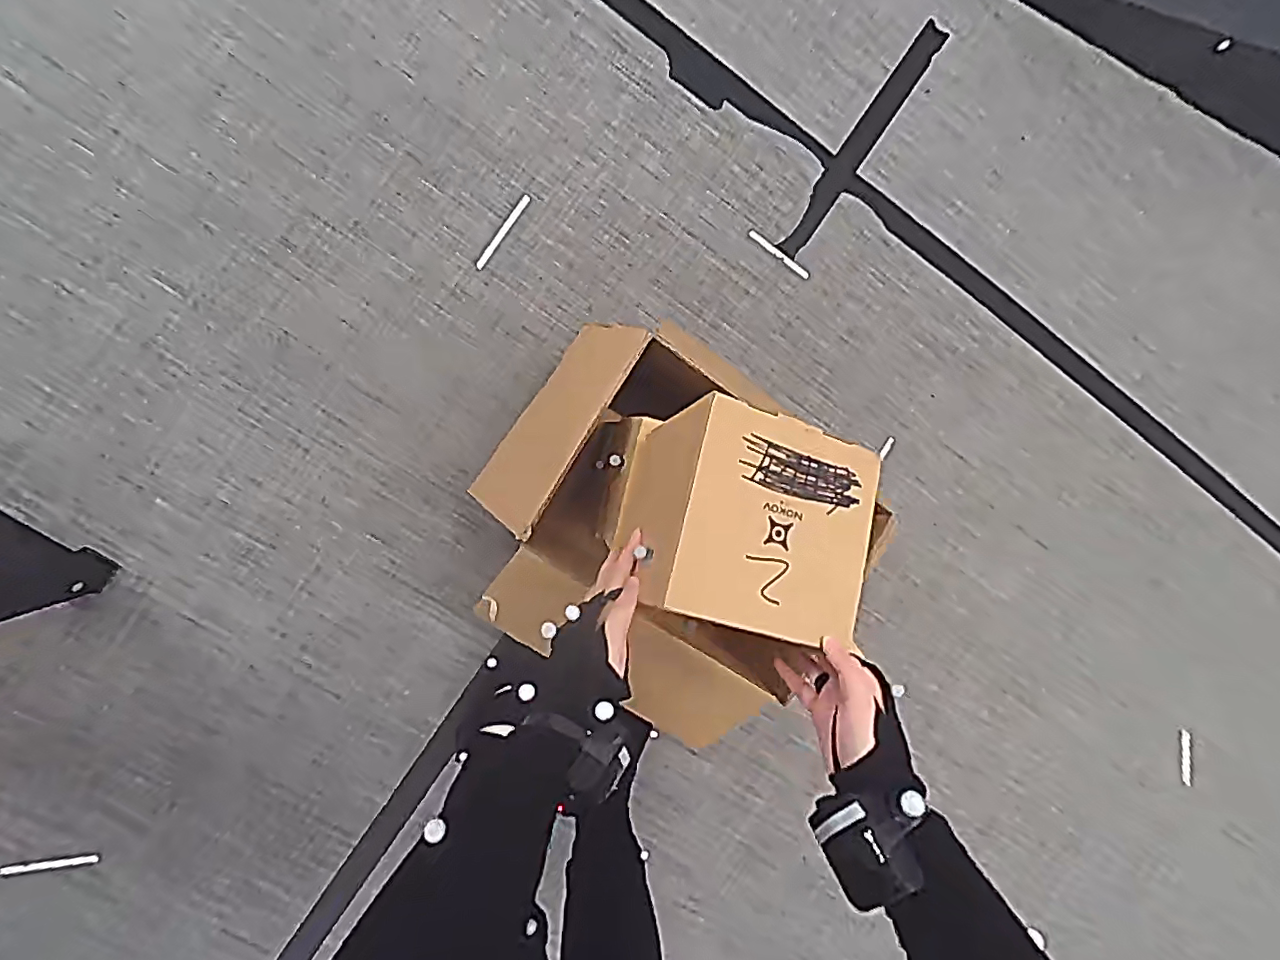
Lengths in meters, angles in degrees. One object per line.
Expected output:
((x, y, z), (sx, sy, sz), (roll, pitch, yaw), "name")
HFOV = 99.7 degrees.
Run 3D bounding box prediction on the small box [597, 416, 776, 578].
((0.049, 0.017, 0.718), (0.179, 0.176, 0.168), (12, 94, -13), "small box")
